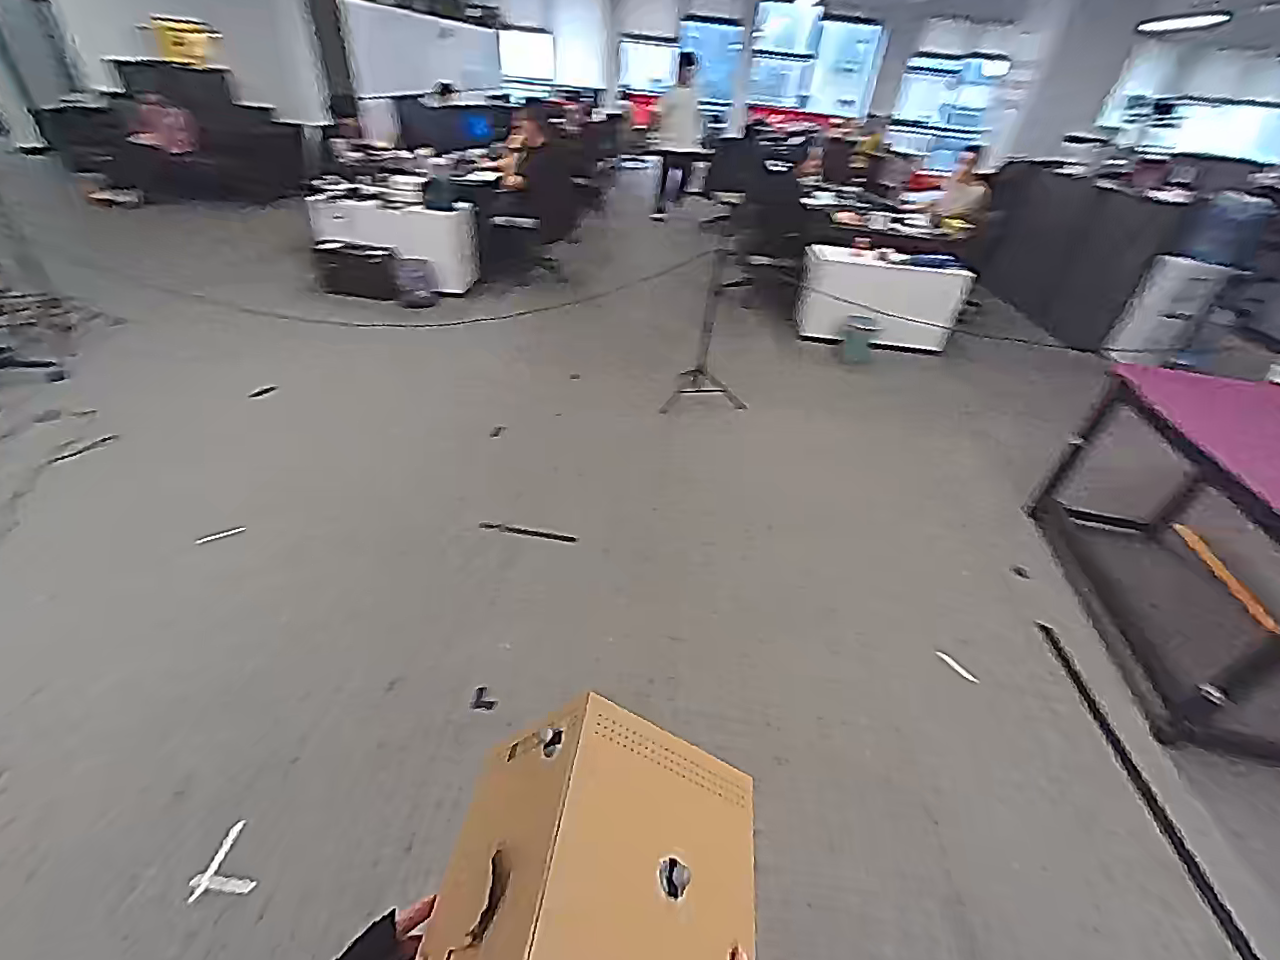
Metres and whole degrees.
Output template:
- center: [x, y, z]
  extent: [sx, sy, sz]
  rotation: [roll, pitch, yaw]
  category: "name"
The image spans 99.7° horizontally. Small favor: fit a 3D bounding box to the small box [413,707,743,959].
- center: [-0.042, 0.299, 0.415]
  extent: [0.179, 0.168, 0.176]
  rotation: [34, 35, -19]
  category: "small box"
